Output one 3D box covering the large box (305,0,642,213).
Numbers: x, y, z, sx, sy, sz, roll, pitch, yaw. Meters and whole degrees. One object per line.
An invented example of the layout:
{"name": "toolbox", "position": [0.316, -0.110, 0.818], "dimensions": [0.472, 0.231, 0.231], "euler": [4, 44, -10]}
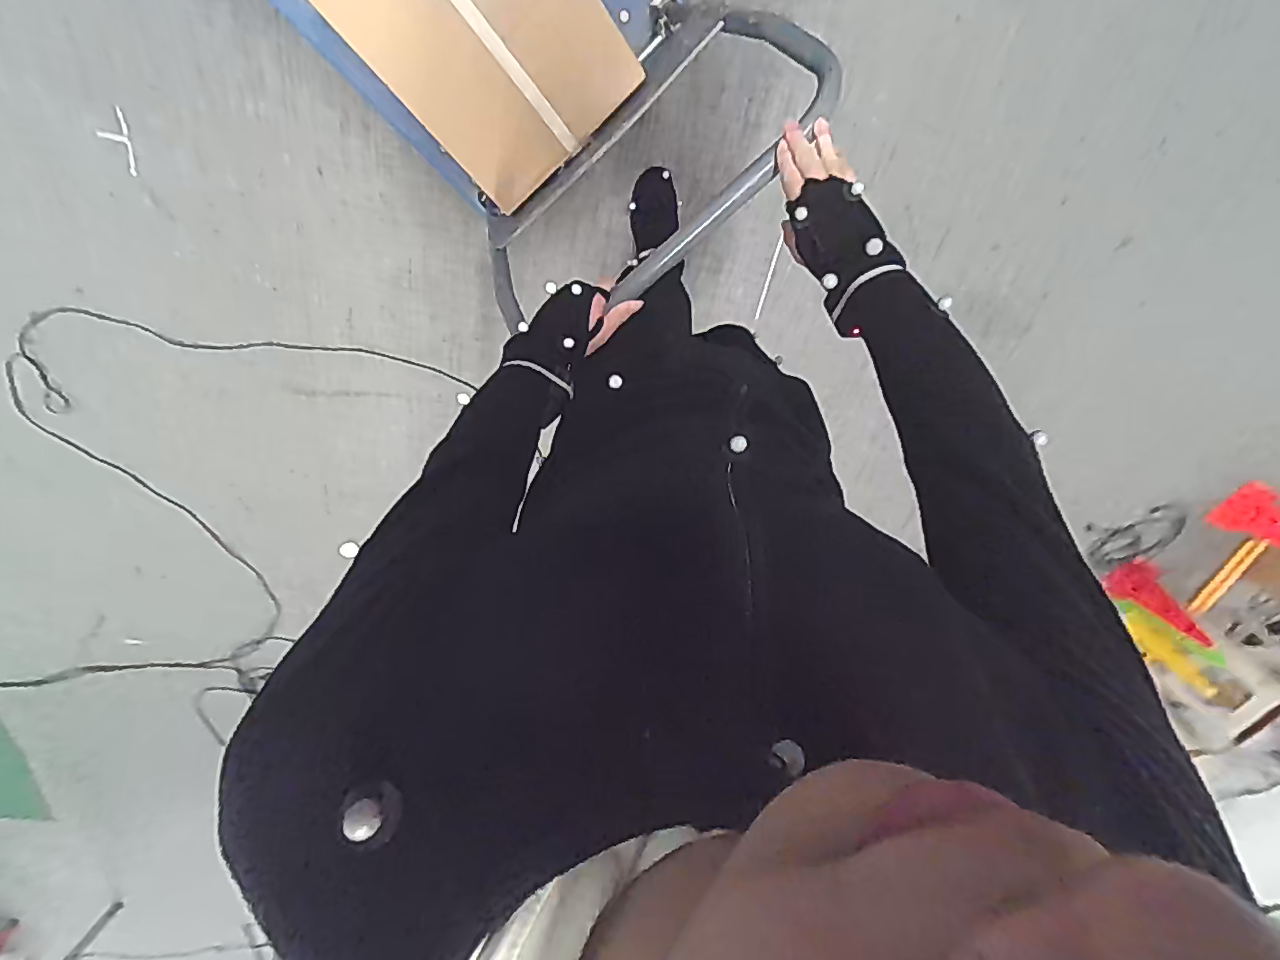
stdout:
{"name": "large box", "position": [-0.256, -0.740, 0.888], "dimensions": [0.320, 0.320, 0.408], "euler": [-37, 127, 16]}
